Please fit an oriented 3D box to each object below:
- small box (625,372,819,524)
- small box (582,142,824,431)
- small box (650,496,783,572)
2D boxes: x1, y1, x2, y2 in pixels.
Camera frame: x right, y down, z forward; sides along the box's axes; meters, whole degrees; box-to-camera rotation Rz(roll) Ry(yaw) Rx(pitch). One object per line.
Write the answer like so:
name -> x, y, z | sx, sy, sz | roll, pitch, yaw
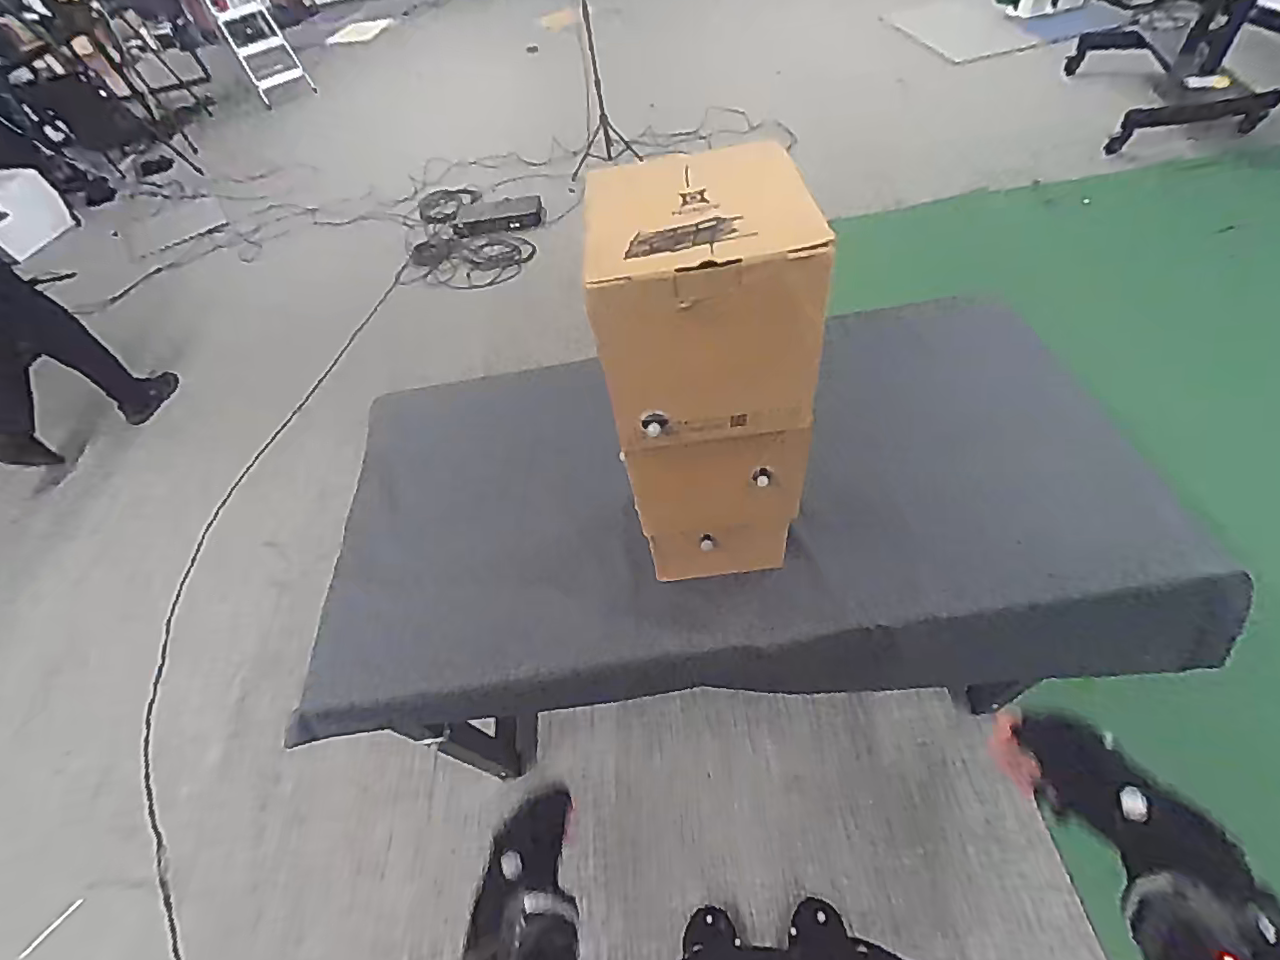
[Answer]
small box -> 0.072, -0.072, 0.589 | 0.179, 0.176, 0.168 | -10, 53, 1
small box -> 0.049, -0.156, 0.469 | 0.168, 0.176, 0.179 | -7, 52, 4
small box -> 0.094, 0.011, 0.750 | 0.179, 0.176, 0.168 | -10, 52, 1
